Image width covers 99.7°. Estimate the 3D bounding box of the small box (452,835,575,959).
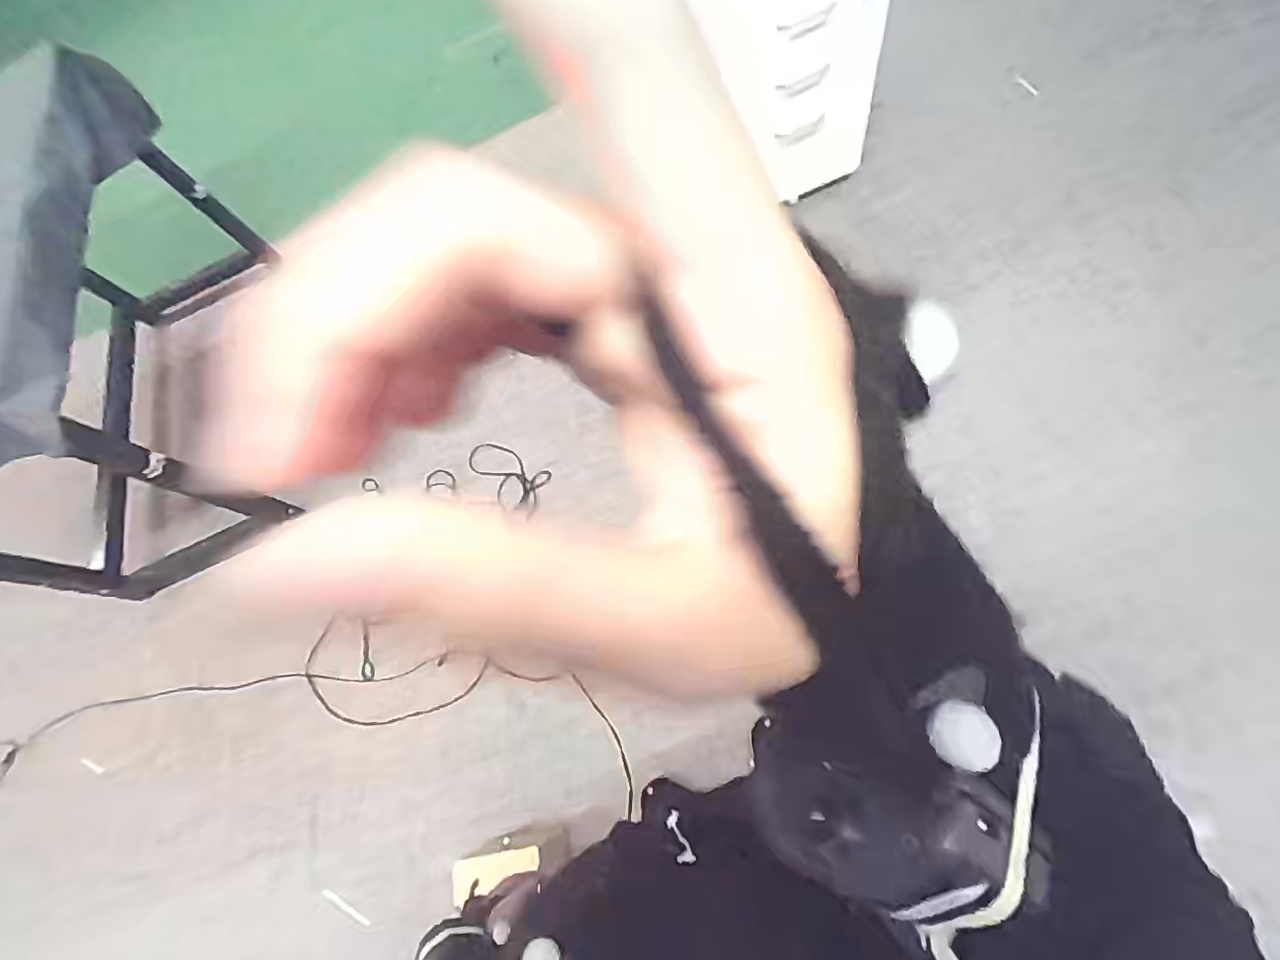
[{"bbox_3d":[-0.242,0.812,1.049,0.179,0.176,0.168,-14,65,6],"label":"small box"}]
